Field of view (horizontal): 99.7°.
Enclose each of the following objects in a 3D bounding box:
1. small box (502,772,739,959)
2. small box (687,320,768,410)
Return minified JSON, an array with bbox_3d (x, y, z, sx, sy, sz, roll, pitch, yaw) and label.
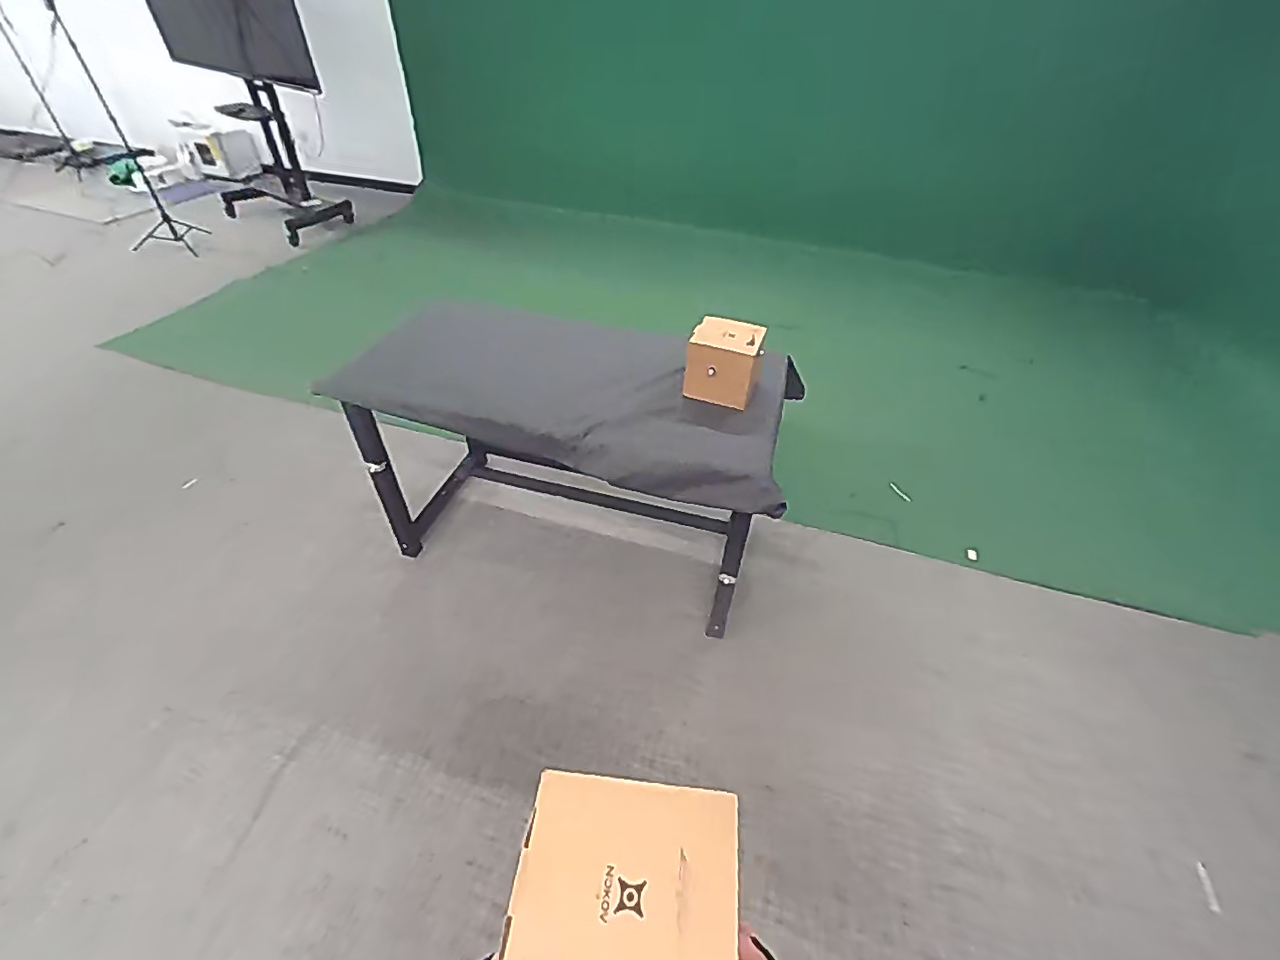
[{"bbox_3d":[-0.008,0.380,0.478,0.179,0.176,0.168,4,47,5],"label":"small box"},{"bbox_3d":[0.234,-0.312,1.474,0.179,0.176,0.168,15,45,15],"label":"small box"}]
